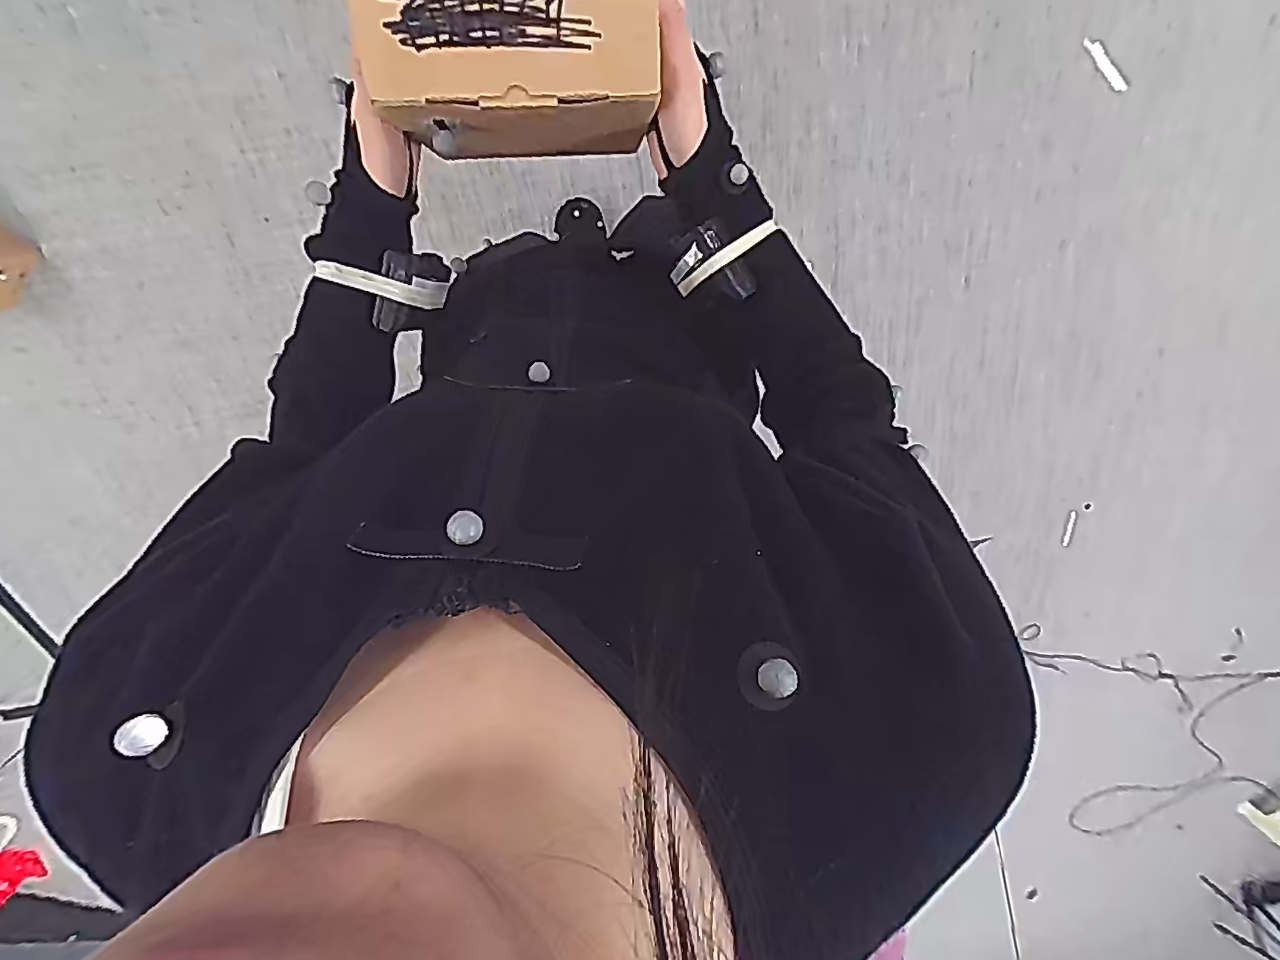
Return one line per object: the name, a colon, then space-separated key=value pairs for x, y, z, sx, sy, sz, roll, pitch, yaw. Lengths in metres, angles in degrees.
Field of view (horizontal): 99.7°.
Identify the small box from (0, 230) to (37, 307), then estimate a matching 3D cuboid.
small box: x=-1.441 y=-0.464 z=1.122 sx=0.179 sy=0.176 sz=0.168 roll=39 pitch=107 yaw=-21
